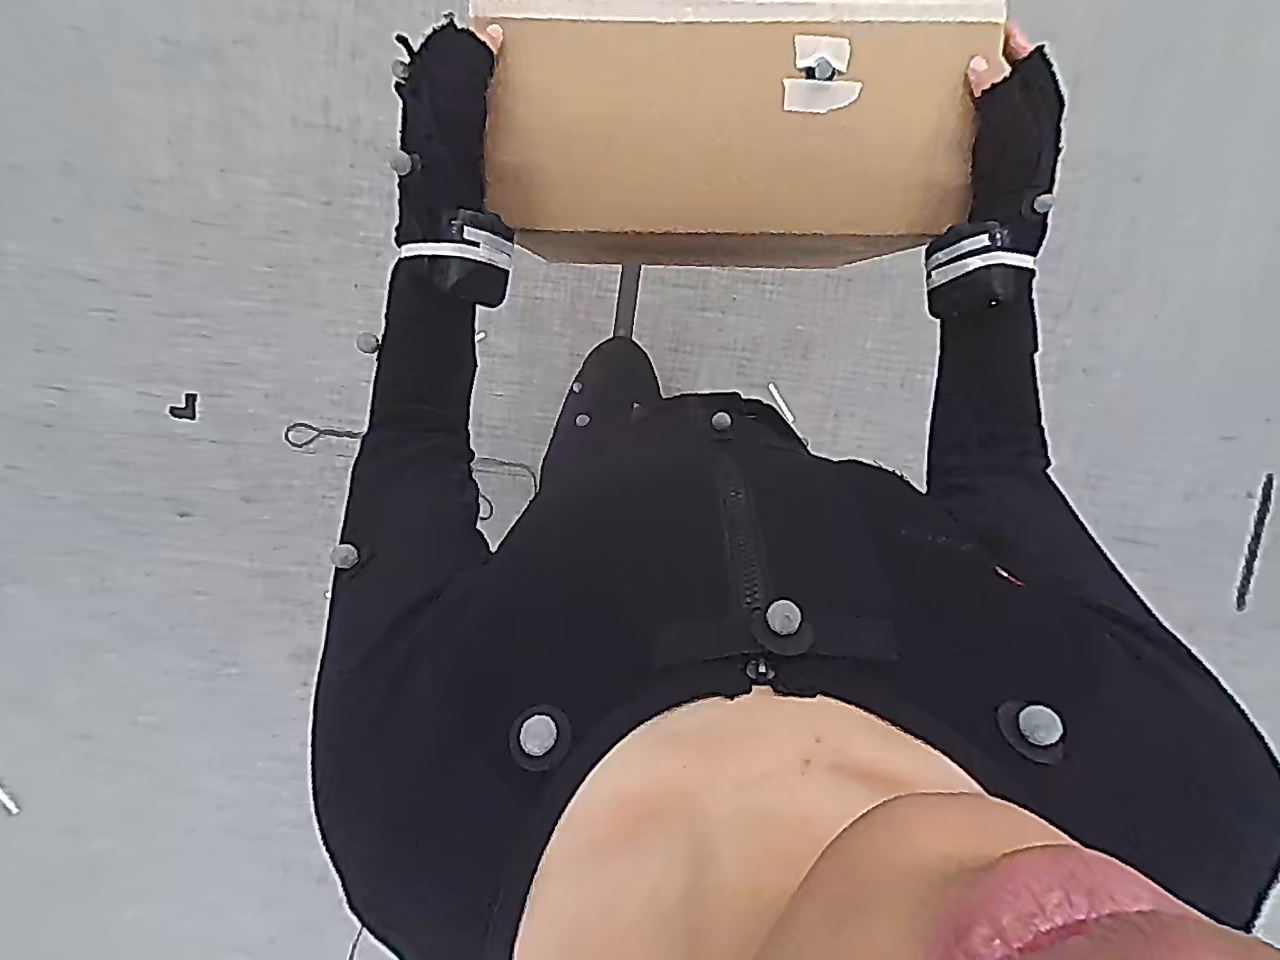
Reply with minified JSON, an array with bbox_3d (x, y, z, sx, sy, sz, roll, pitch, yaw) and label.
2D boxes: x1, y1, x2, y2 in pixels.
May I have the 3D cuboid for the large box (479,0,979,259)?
[{"bbox_3d":[0.067,-0.415,0.569,0.408,0.320,0.320,0,108,-1],"label":"large box"}]
